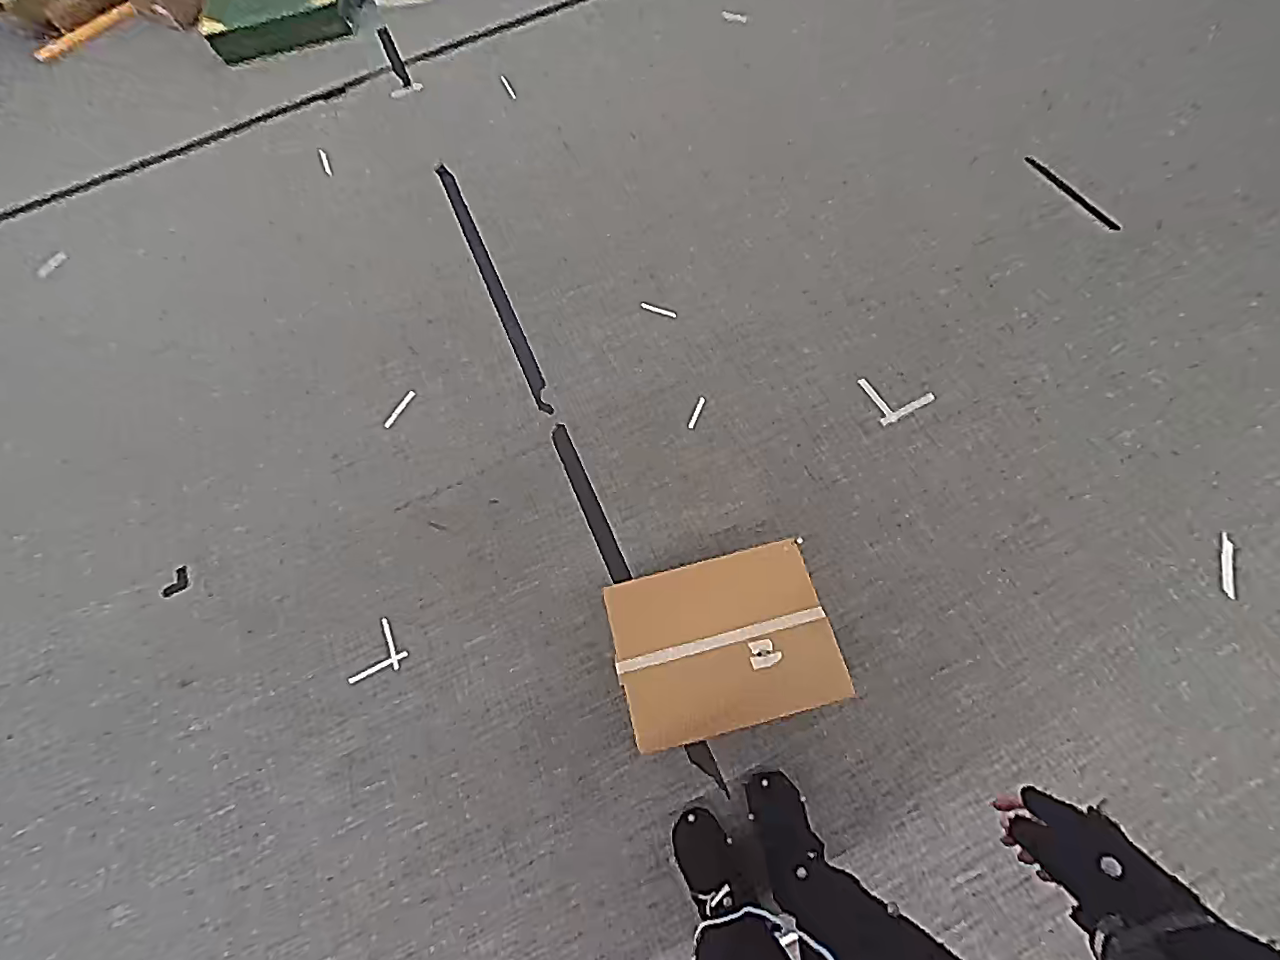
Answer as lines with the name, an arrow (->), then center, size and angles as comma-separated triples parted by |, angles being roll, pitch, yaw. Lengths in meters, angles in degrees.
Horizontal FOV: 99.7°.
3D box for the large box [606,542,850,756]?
large box -> 0.169, 0.376, 1.177 | 0.408, 0.320, 0.320 | -15, 66, -2
